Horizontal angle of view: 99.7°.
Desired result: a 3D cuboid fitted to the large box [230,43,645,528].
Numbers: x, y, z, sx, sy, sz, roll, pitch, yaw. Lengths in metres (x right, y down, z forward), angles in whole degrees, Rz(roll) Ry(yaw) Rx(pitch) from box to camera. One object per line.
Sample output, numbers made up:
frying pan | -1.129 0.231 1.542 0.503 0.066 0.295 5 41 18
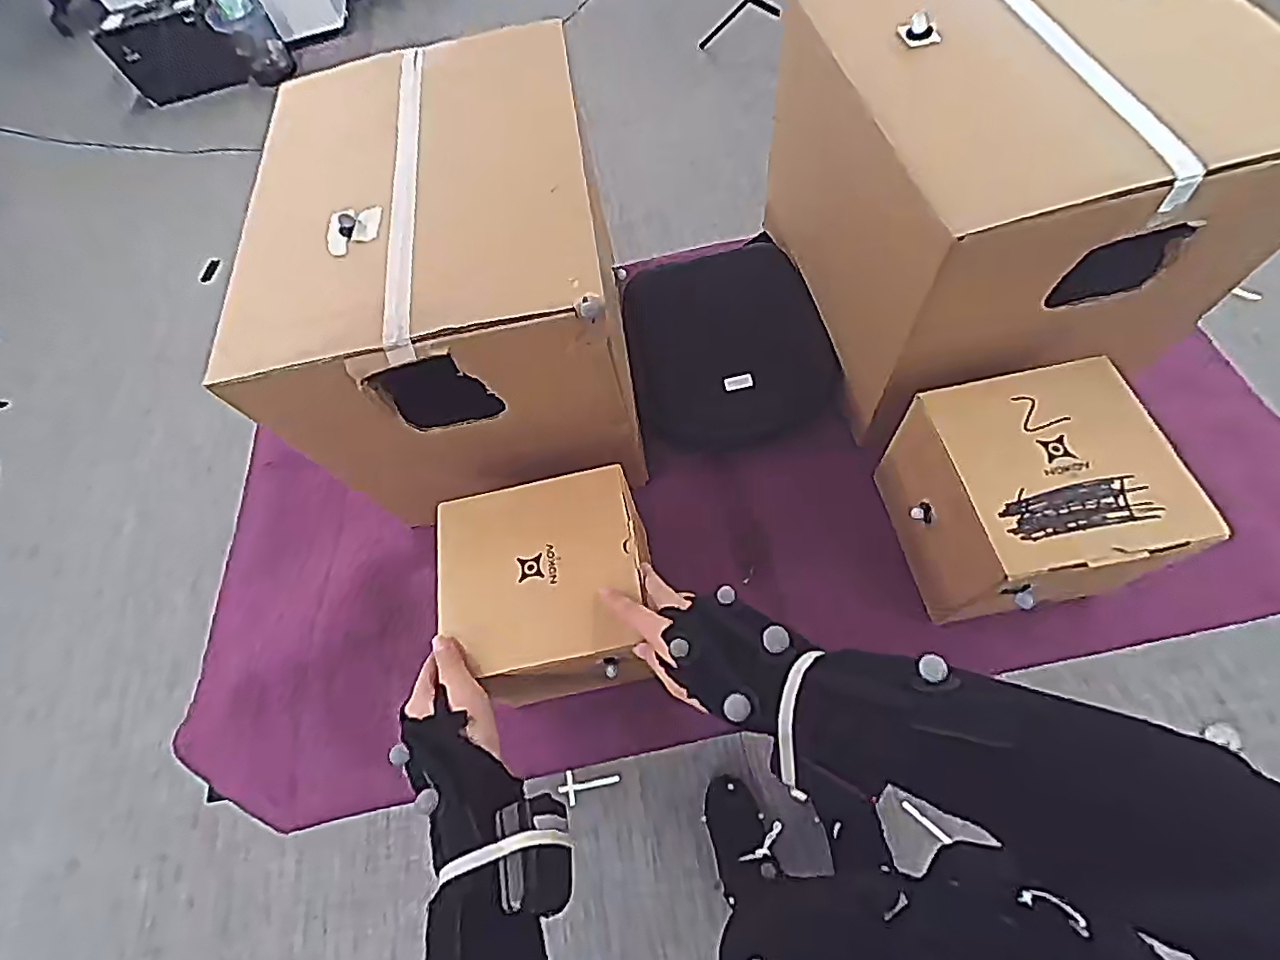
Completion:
large box | -0.189 -0.200 0.633 0.320 0.320 0.408 -12 65 4
